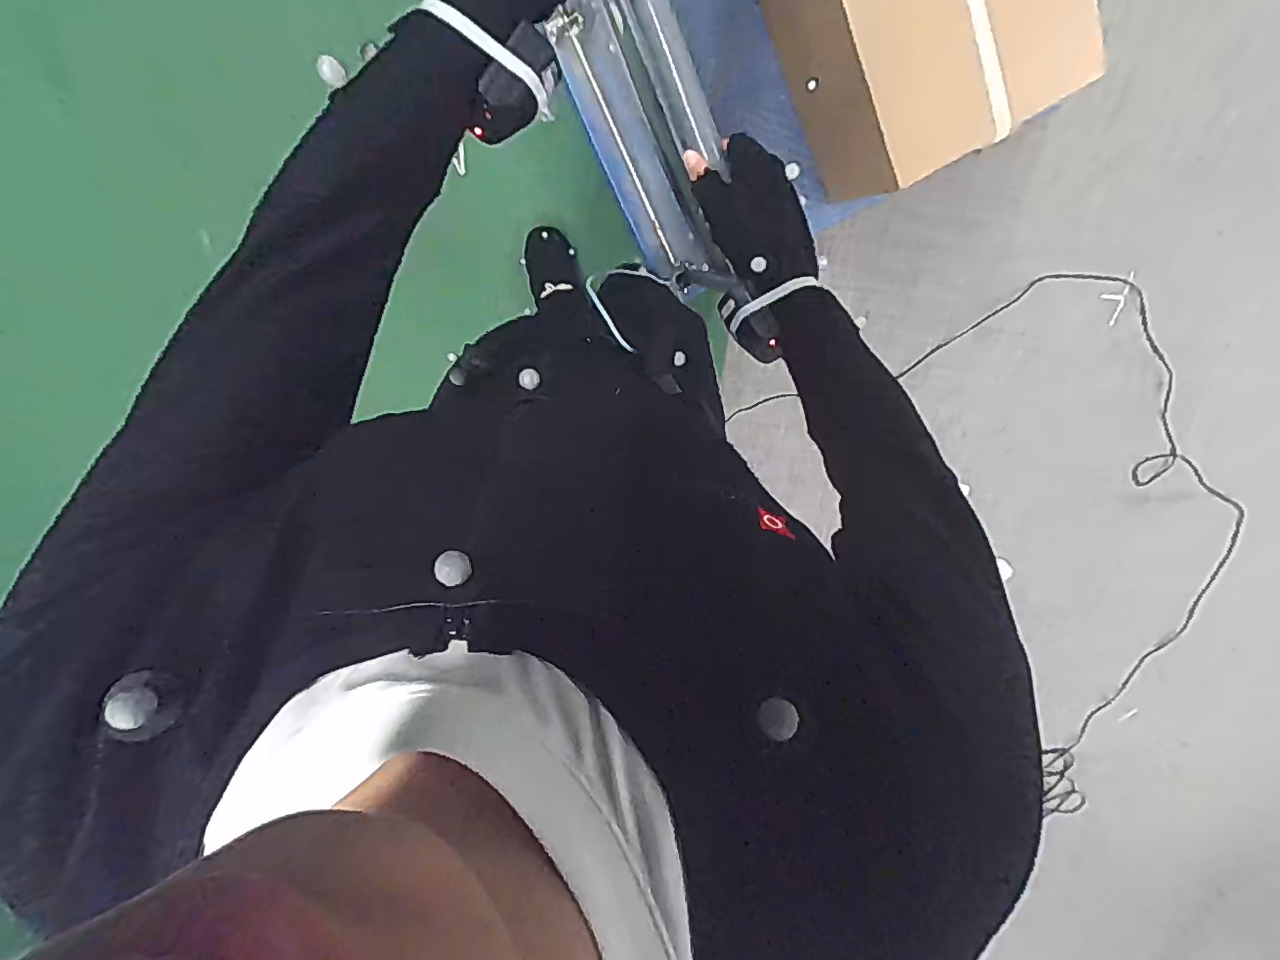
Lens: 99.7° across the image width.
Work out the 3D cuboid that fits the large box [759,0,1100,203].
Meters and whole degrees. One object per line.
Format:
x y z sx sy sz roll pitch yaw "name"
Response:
0.429 -0.726 0.867 0.320 0.320 0.408 -26 111 10 "large box"
